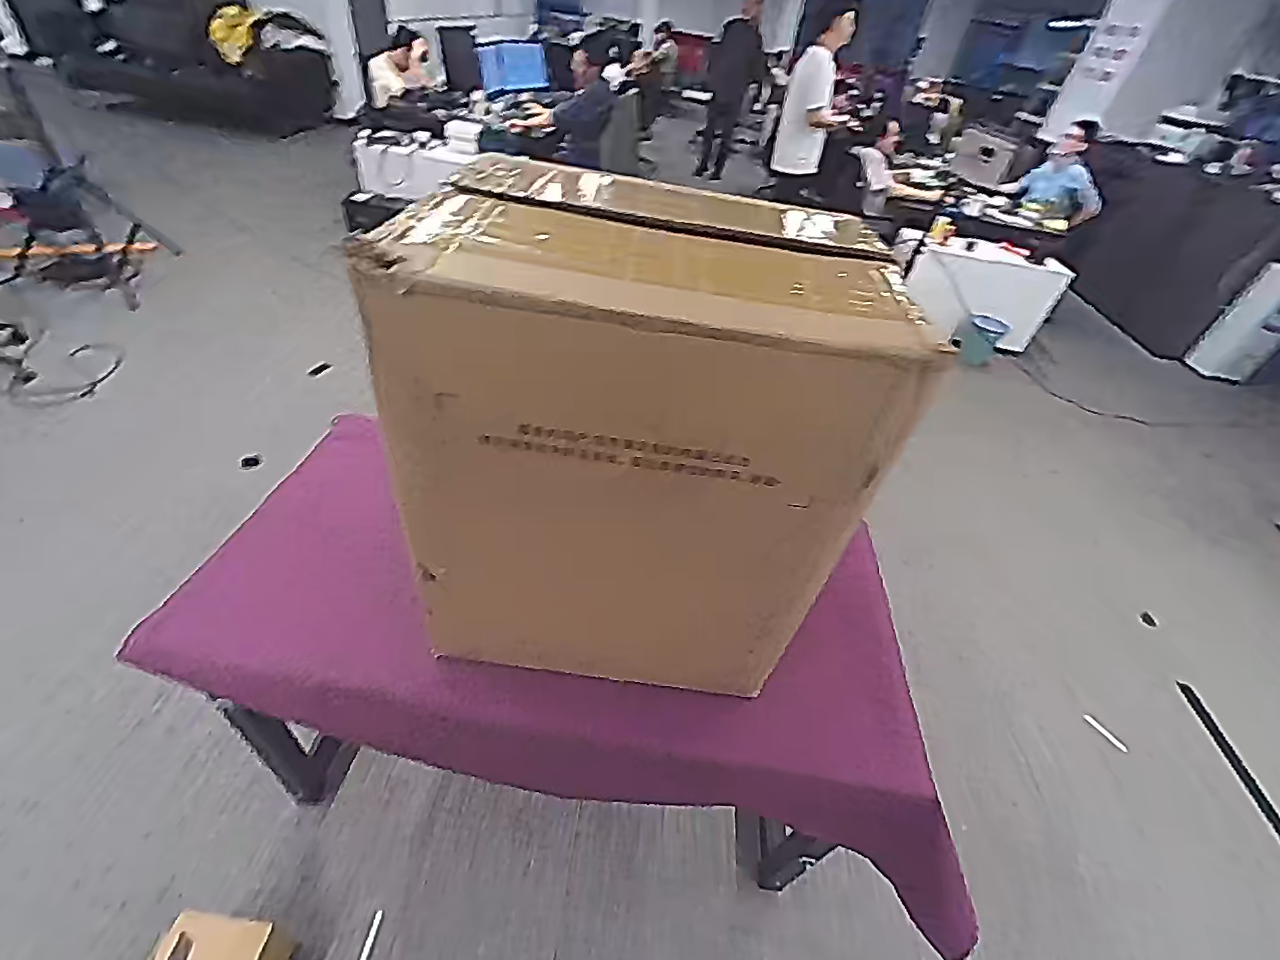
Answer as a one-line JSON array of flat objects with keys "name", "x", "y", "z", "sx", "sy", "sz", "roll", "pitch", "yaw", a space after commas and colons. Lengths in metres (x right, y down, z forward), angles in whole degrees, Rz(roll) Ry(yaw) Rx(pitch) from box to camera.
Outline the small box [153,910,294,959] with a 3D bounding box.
[{"name": "small box", "x": -0.787, "y": 0.927, "z": 0.998, "sx": 0.179, "sy": 0.176, "sz": 0.168, "roll": 10, "pitch": 41, "yaw": -2}]
